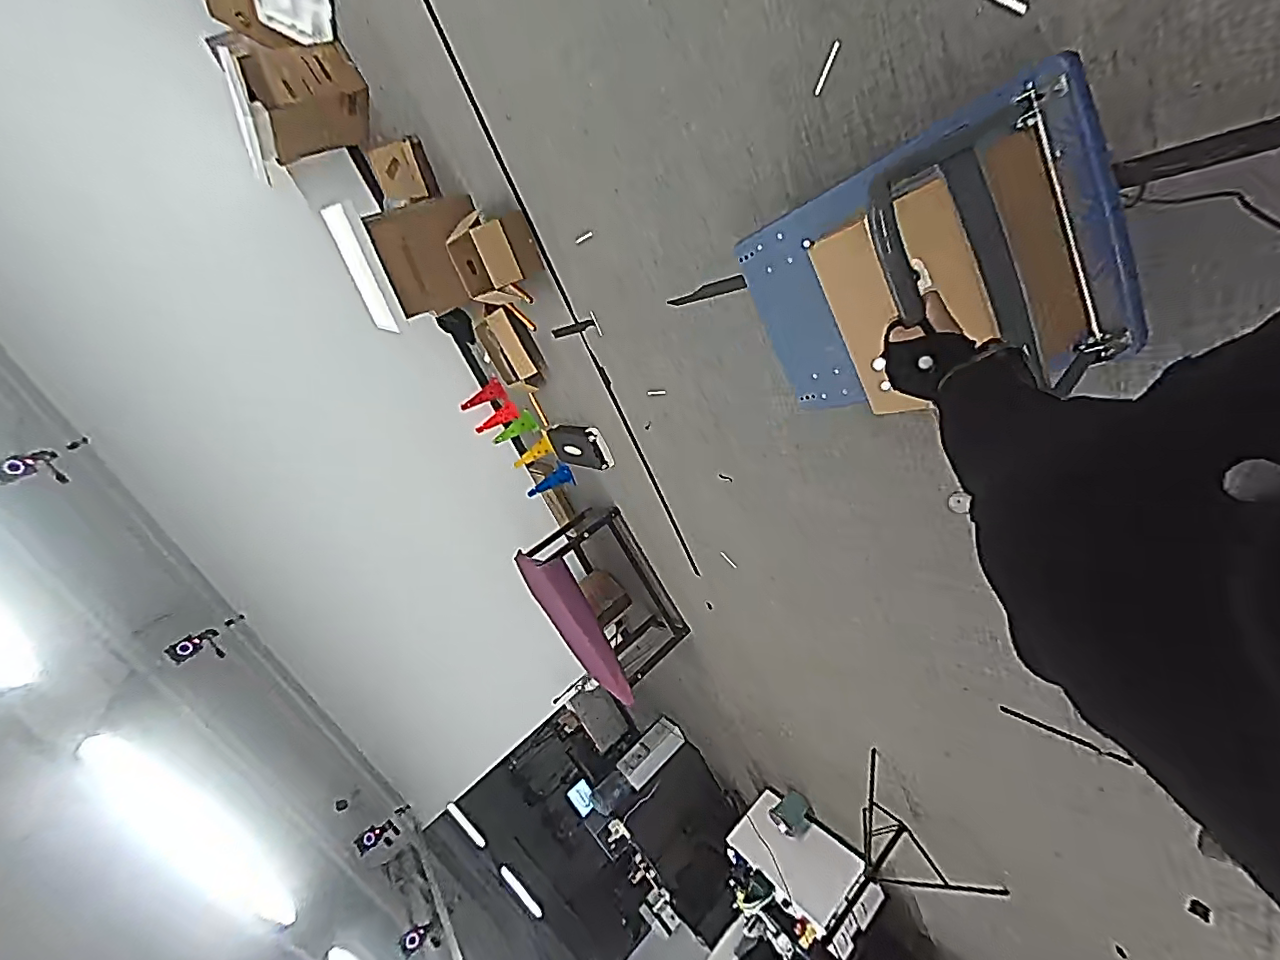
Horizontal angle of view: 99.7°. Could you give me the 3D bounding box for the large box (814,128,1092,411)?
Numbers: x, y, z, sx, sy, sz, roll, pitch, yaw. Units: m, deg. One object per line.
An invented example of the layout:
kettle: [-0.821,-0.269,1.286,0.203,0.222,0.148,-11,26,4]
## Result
large box: [0.637,-0.402,1.104,0.320,0.320,0.408,-2,120,60]
